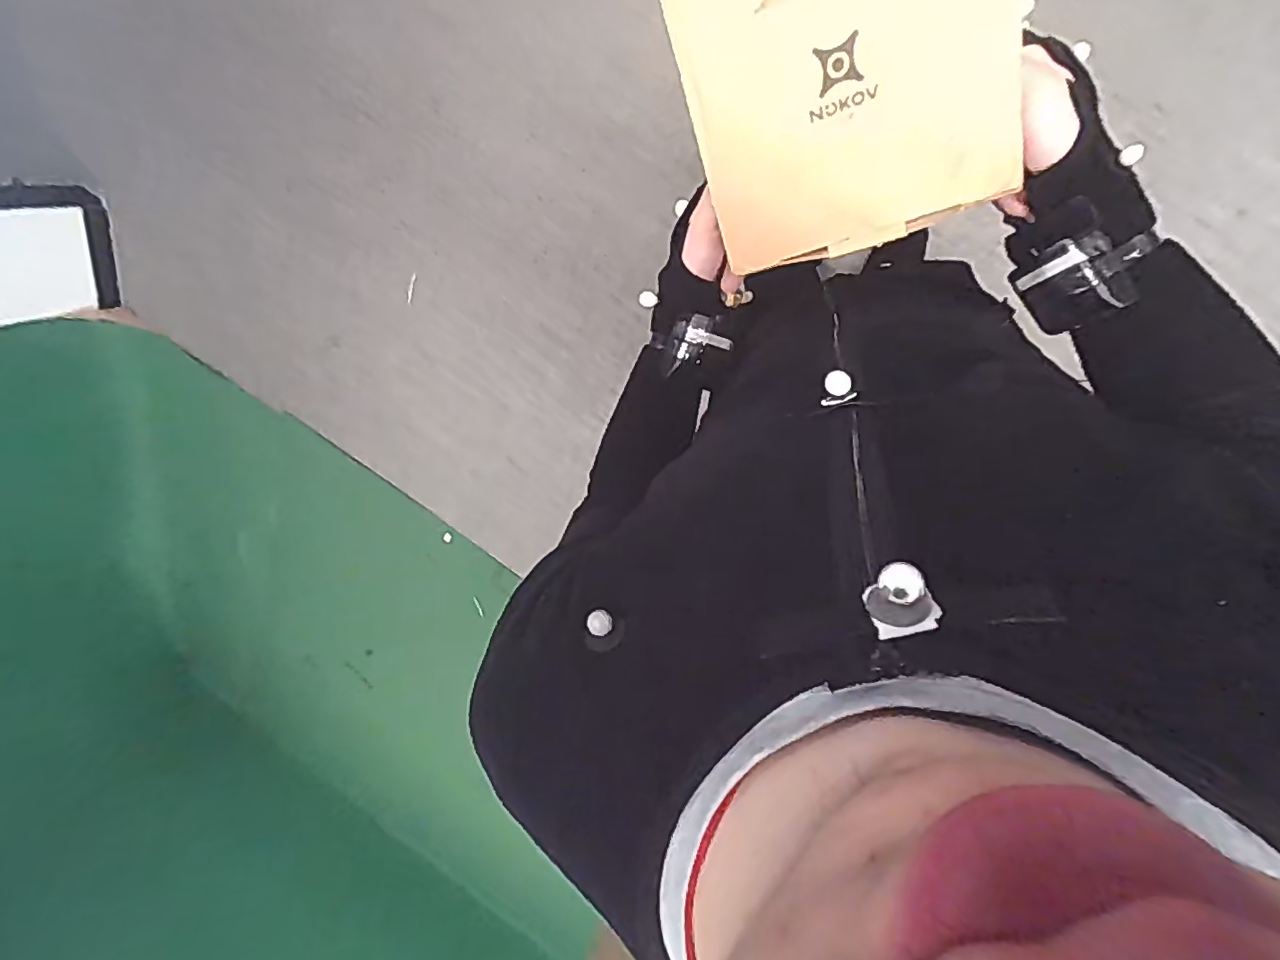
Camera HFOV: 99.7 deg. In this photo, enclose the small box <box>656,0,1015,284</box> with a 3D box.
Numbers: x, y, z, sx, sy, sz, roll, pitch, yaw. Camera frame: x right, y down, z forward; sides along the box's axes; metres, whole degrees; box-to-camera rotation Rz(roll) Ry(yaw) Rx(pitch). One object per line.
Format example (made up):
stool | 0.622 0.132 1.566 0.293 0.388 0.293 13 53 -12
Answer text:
small box | 0.127 -0.256 0.356 0.168 0.176 0.179 -10 118 24
